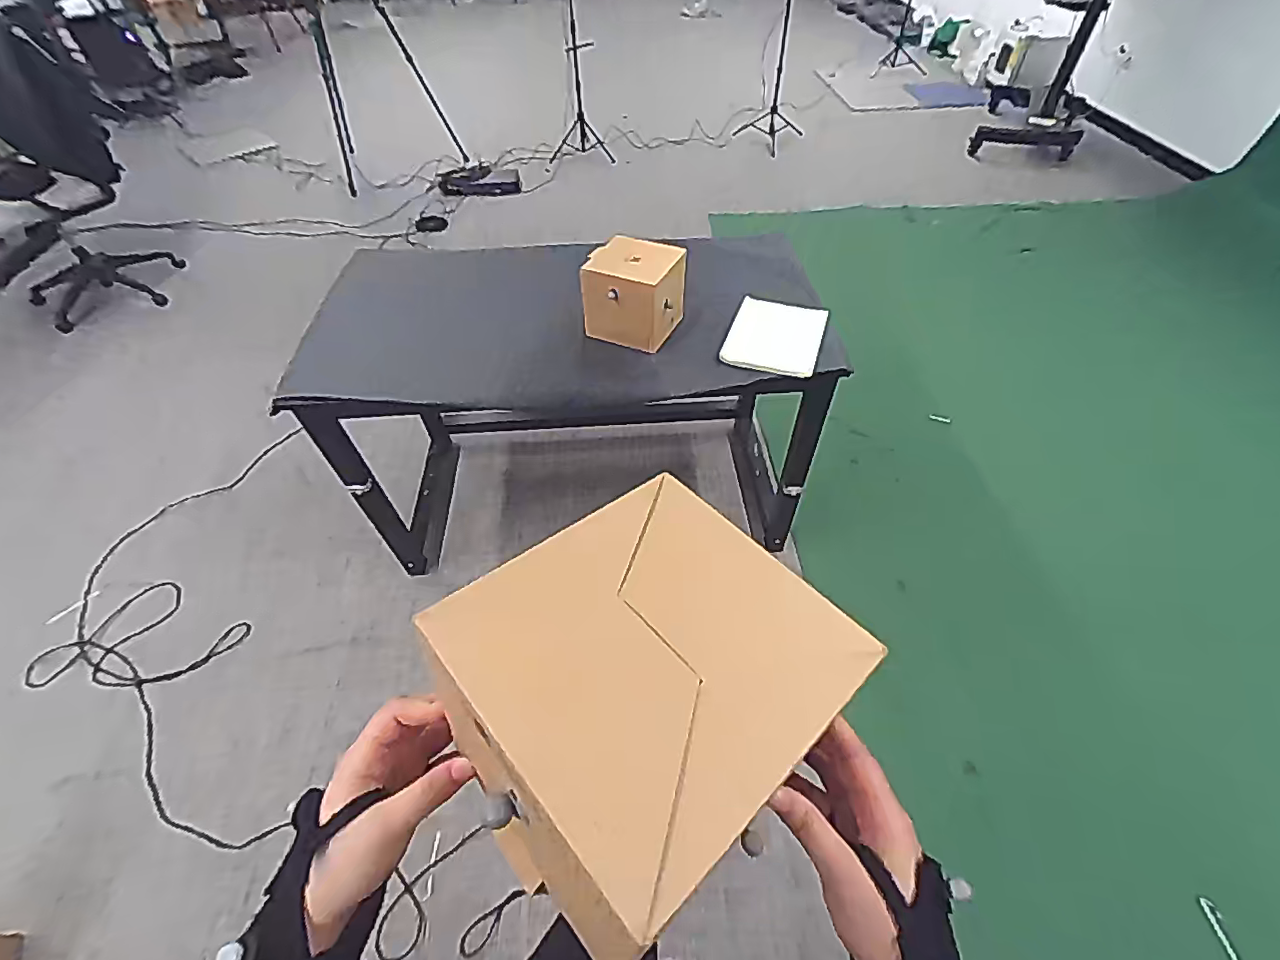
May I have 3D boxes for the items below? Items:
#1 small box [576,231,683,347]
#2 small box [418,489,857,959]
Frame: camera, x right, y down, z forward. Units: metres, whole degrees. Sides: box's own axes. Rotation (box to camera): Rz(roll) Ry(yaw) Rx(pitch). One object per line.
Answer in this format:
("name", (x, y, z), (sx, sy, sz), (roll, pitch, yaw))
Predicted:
("small box", (-0.017, -0.417, 1.193), (0.179, 0.176, 0.168), (19, 53, 18))
("small box", (-0.004, 0.130, 0.325), (0.179, 0.176, 0.168), (-30, 55, -33))
